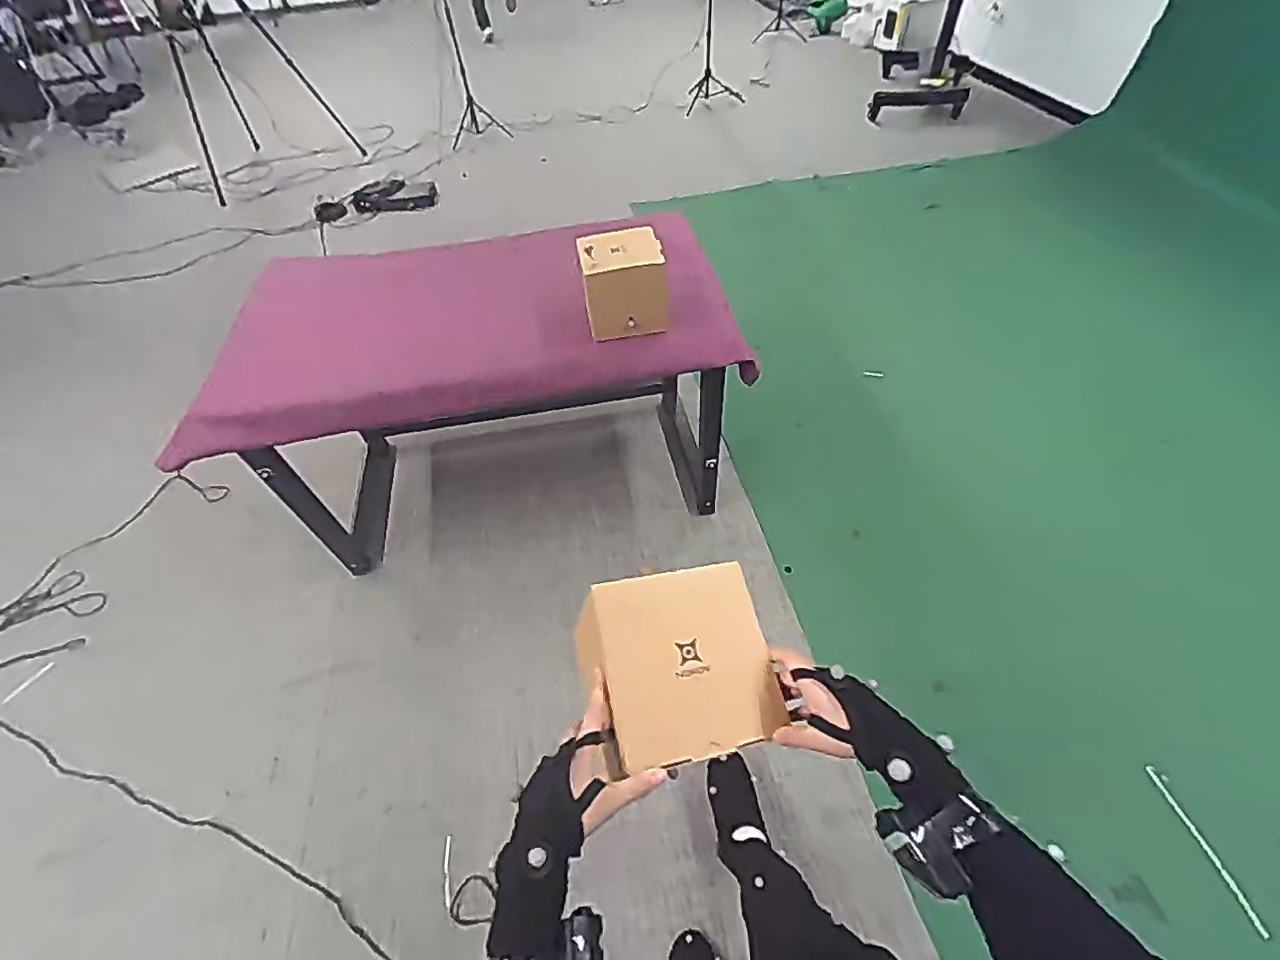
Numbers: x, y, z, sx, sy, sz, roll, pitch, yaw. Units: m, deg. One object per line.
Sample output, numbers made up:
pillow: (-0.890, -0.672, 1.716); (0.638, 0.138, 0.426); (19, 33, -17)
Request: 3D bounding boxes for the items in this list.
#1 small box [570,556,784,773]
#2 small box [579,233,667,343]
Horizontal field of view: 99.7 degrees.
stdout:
small box: (0.023, 0.202, 0.586); (0.168, 0.176, 0.179); (-6, 62, -17)
small box: (-0.036, -0.434, 1.231); (0.179, 0.176, 0.168); (-10, 48, -3)
